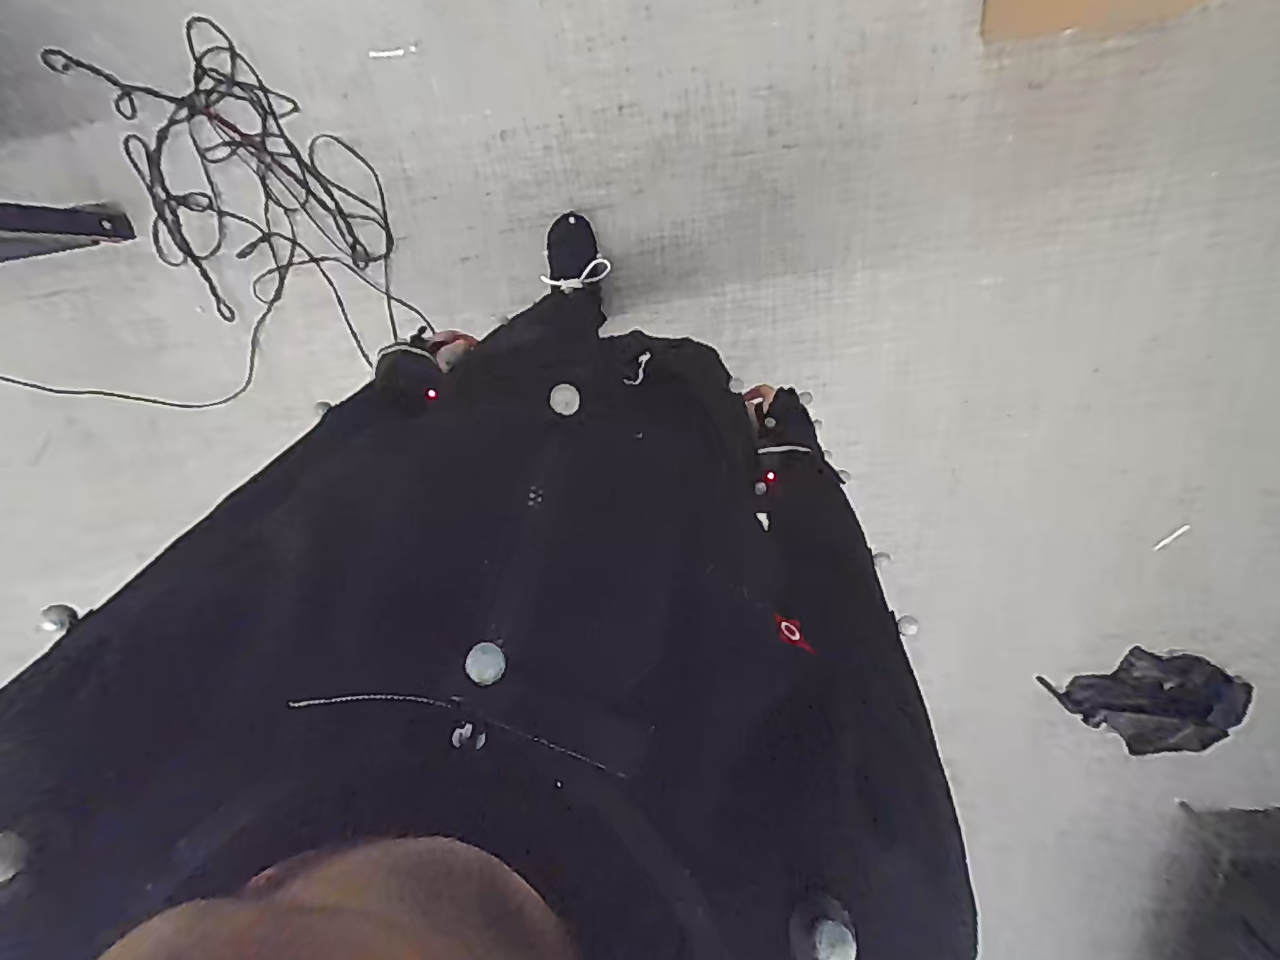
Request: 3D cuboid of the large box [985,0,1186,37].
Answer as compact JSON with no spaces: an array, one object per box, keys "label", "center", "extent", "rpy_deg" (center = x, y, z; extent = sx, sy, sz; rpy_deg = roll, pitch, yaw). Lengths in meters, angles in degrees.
[{"label":"large box","center":[0.792,-0.992,0.827],"extent":[0.320,0.320,0.408],"rpy_deg":[-3,112,4]}]
